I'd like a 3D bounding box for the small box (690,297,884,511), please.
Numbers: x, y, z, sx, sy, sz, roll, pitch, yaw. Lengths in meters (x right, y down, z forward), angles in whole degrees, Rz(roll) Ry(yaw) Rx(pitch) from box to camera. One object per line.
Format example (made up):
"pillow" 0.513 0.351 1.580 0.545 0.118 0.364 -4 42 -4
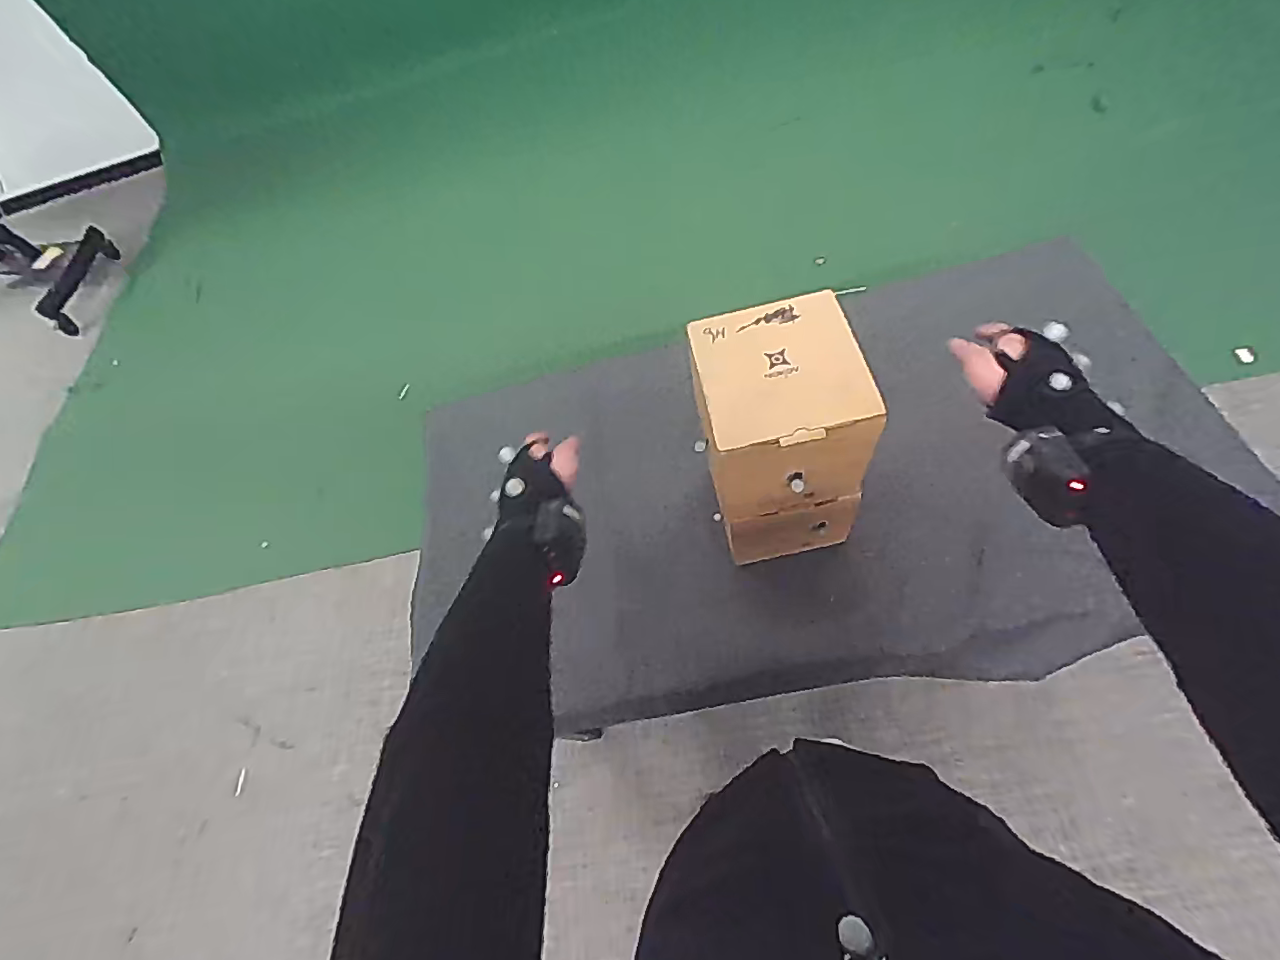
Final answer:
"small box" 0.160 -0.075 0.633 0.168 0.176 0.179 -12 62 5

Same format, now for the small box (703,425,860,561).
"small box" 0.194 0.004 0.773 0.168 0.176 0.179 -13 60 4
